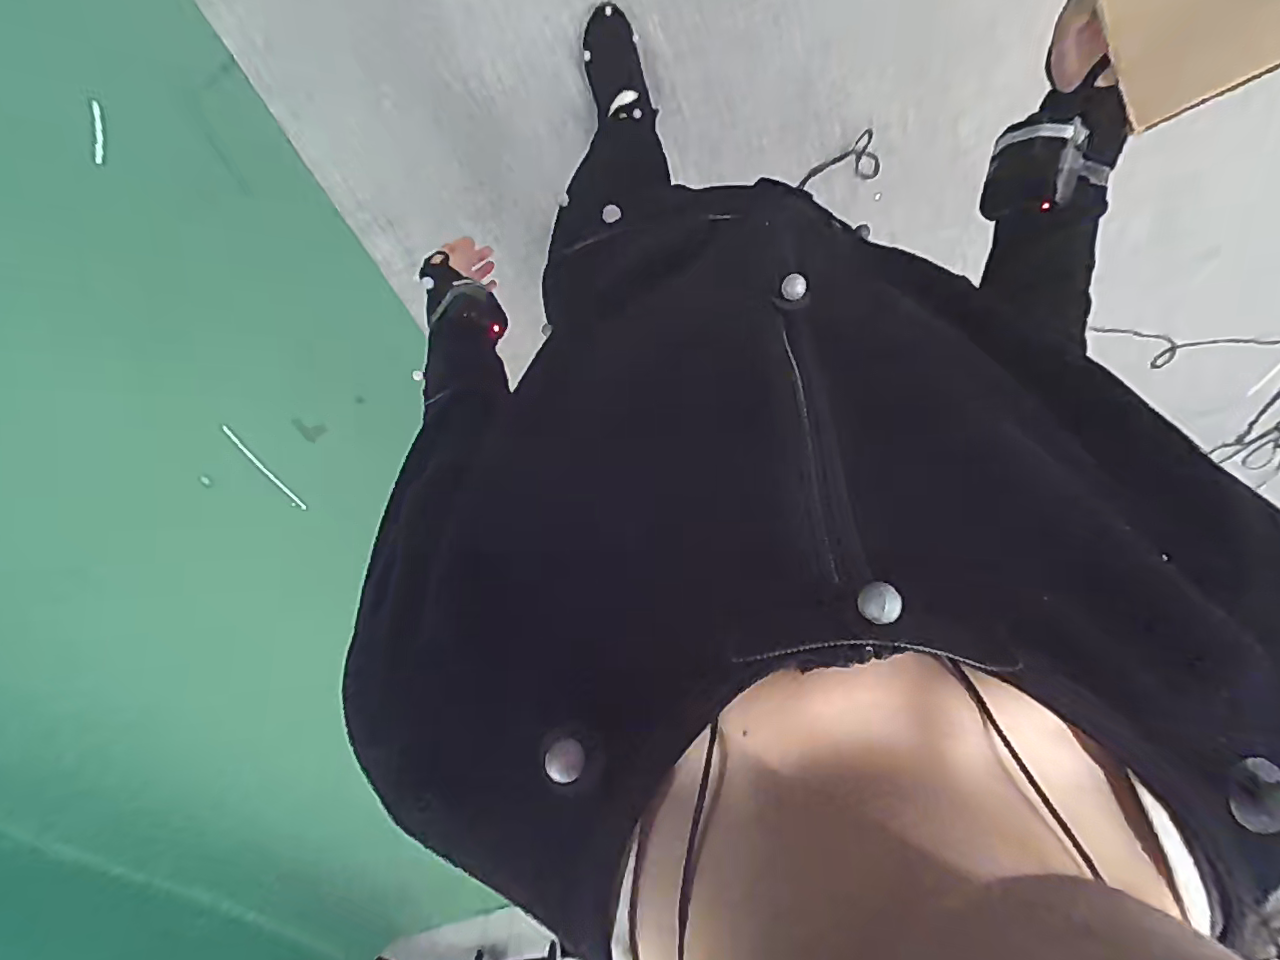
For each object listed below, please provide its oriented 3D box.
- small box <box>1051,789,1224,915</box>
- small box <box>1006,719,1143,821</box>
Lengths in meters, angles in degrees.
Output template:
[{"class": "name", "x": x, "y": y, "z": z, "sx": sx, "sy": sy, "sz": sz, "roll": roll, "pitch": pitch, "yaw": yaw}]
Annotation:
[{"class": "small box", "x": 1.040, "y": 0.786, "z": 1.146, "sx": 0.168, "sy": 0.176, "sz": 0.179, "roll": 25, "pitch": 120, "yaw": -21}, {"class": "small box", "x": 1.031, "y": 0.703, "z": 1.289, "sx": 0.168, "sy": 0.176, "sz": 0.179, "roll": 36, "pitch": 114, "yaw": -26}]
